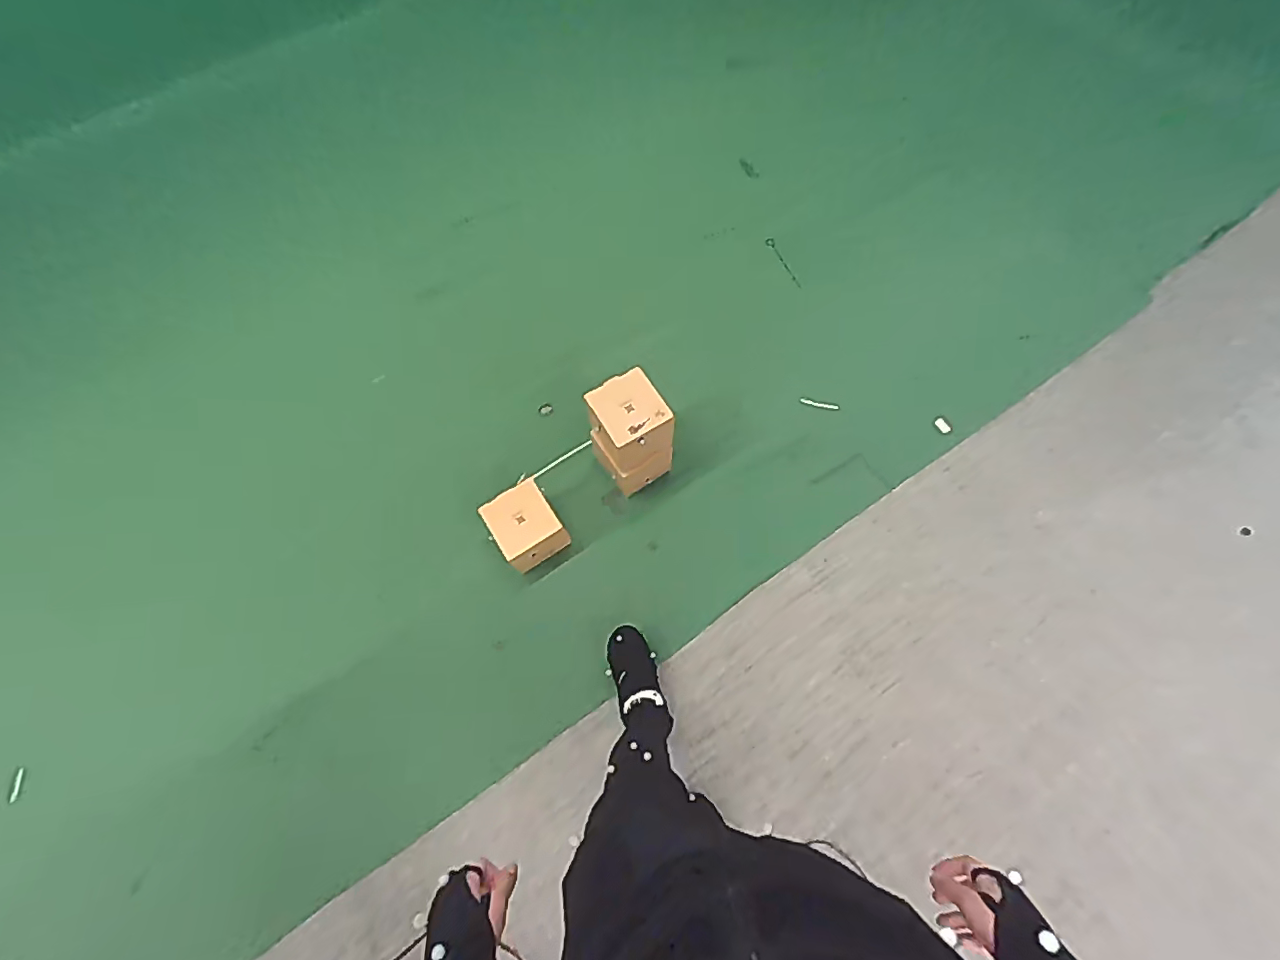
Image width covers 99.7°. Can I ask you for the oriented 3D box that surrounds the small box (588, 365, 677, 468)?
[{"bbox_3d":[-0.019,-0.161,1.418,0.168,0.176,0.179,-30,71,-9],"label":"small box"}]

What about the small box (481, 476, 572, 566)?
[{"bbox_3d":[-0.306,0.122,1.499,0.168,0.176,0.179,-32,71,-9],"label":"small box"}]
